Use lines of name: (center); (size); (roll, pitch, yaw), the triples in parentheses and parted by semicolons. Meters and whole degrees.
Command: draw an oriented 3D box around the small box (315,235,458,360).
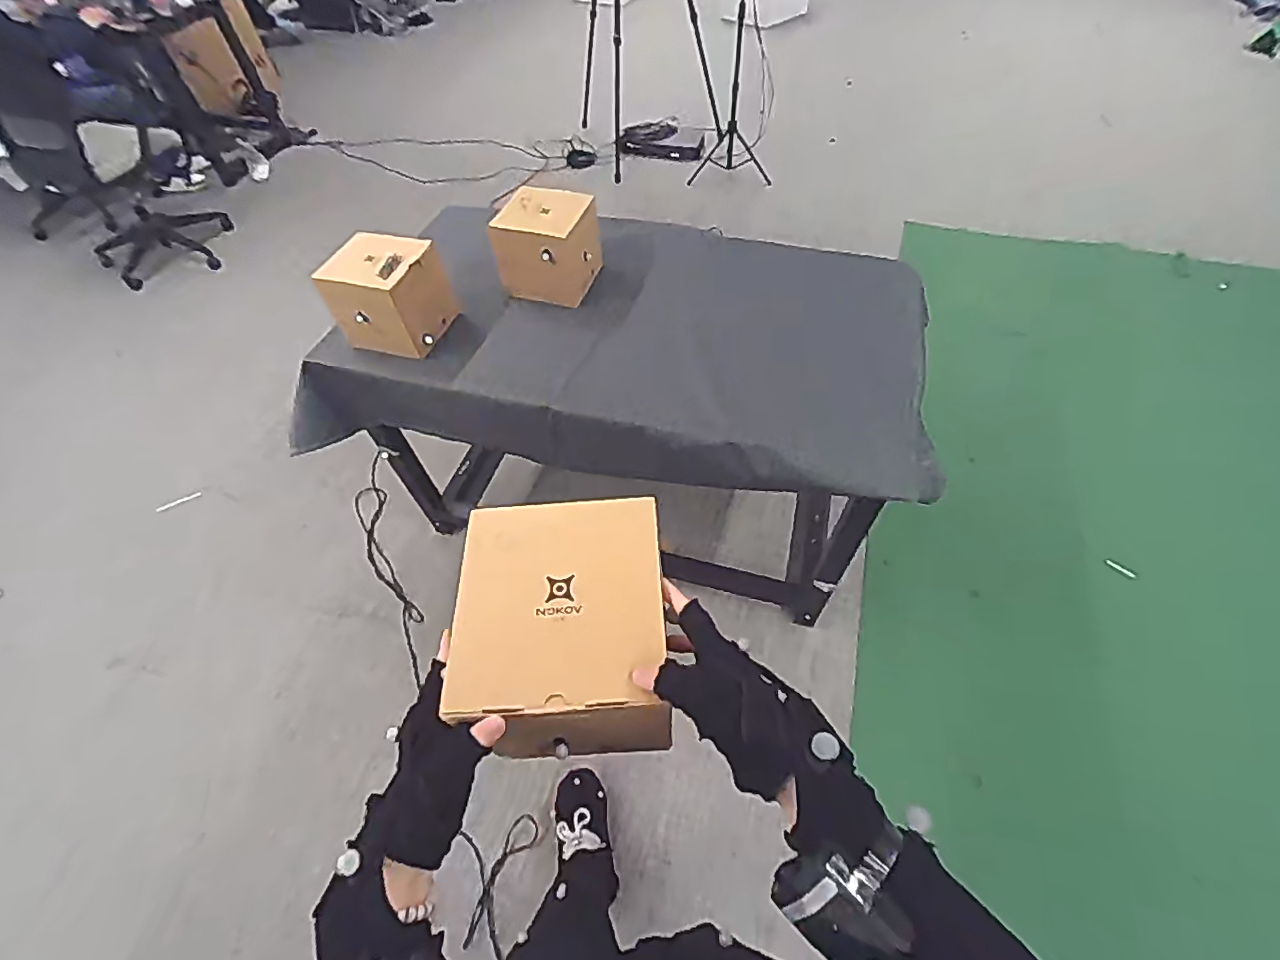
small box: (-0.501, -0.368, 1.103); (0.179, 0.176, 0.168); (12, 55, 12)

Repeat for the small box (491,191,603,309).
small box: (-0.191, -0.498, 1.182); (0.179, 0.176, 0.168); (14, 57, 13)
